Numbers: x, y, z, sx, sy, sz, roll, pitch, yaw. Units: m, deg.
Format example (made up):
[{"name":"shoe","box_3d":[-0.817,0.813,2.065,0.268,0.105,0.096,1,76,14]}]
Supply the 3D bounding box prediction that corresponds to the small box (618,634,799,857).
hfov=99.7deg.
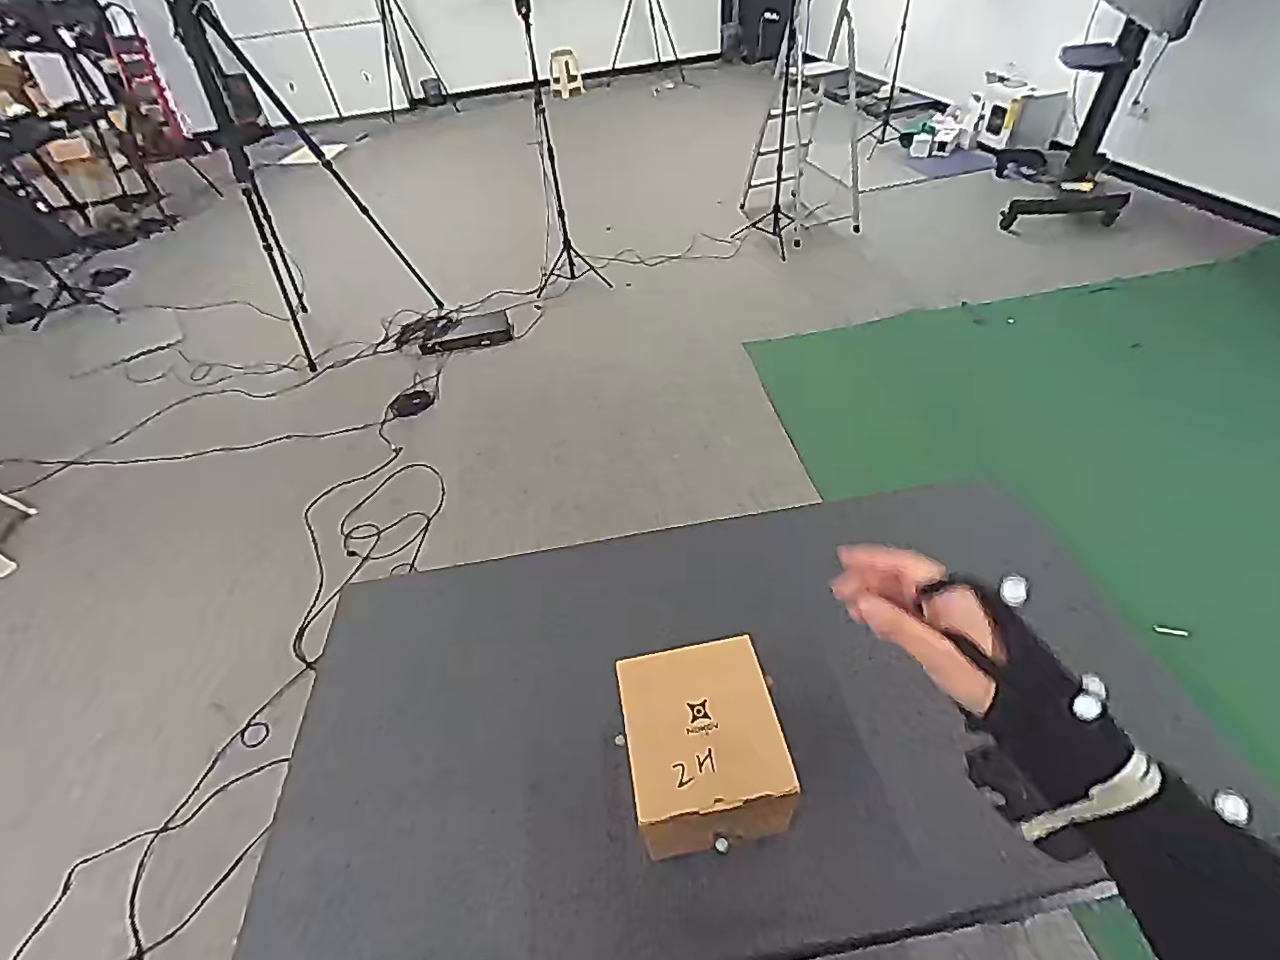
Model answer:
[{"name":"small box","box_3d":[0.072,0.314,0.643,0.168,0.176,0.179,-11,45,-2]}]
